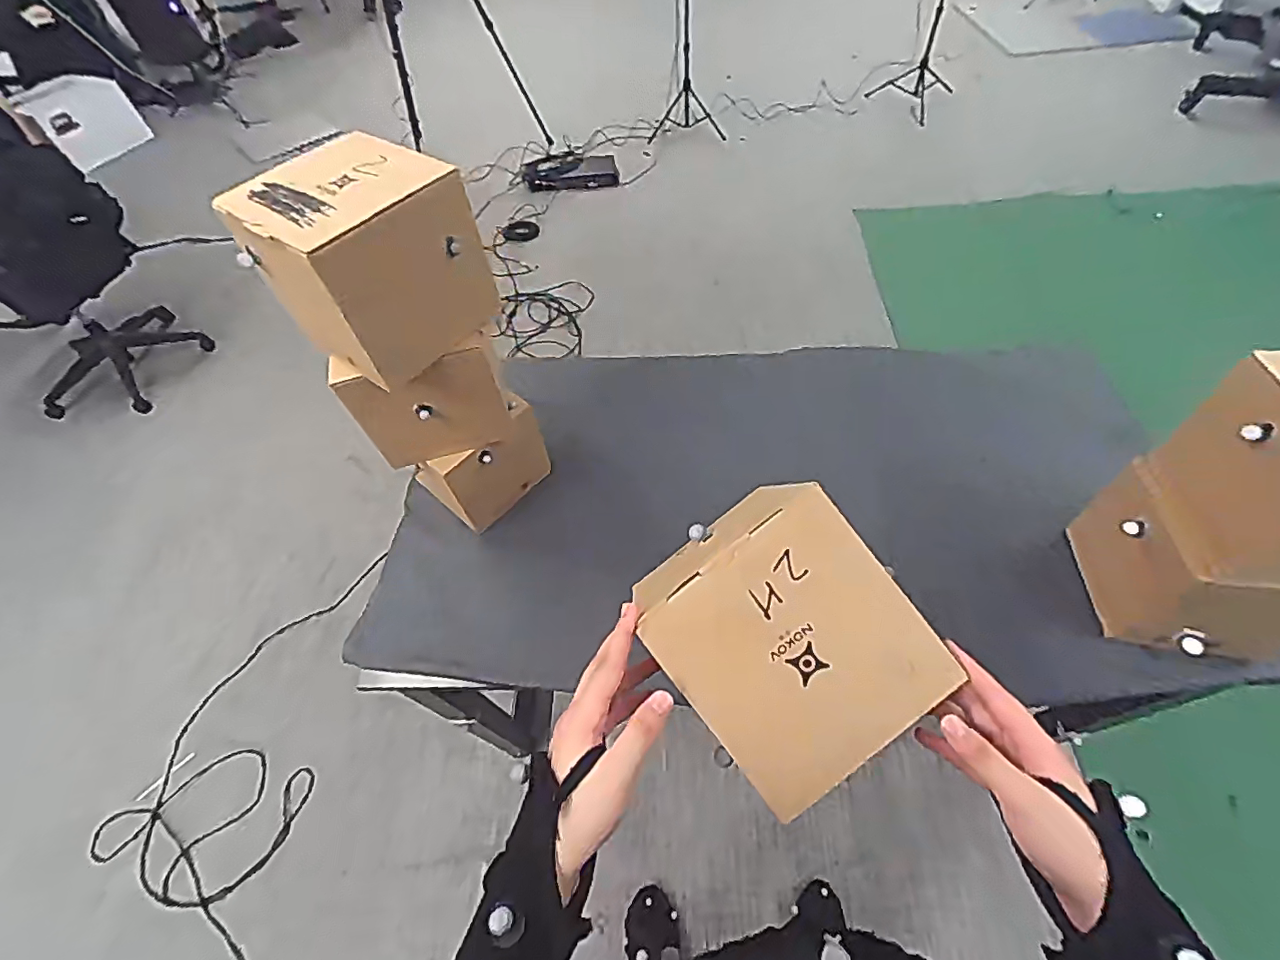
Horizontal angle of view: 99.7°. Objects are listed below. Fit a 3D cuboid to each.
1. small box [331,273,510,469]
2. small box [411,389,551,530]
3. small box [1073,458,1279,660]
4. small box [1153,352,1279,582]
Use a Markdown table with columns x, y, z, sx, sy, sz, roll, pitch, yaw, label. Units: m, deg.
| x | y | z | sx | sy | sz | roll | pitch | yaw | label |
| --- | --- | --- | --- | --- | --- | --- | --- | --- | --- |
| -0.284 | -0.141 | 0.728 | 0.179 | 0.176 | 0.168 | -17 | 56 | -6 | small box |
| -0.270 | -0.051 | 0.865 | 0.179 | 0.176 | 0.168 | 34 | 65 | 25 | small box |
| 0.677 | 0.096 | 0.658 | 0.168 | 0.176 | 0.179 | 4 | 53 | 11 | small box |
| 0.676 | -0.005 | 0.531 | 0.168 | 0.176 | 0.179 | 3 | 51 | 9 | small box |
